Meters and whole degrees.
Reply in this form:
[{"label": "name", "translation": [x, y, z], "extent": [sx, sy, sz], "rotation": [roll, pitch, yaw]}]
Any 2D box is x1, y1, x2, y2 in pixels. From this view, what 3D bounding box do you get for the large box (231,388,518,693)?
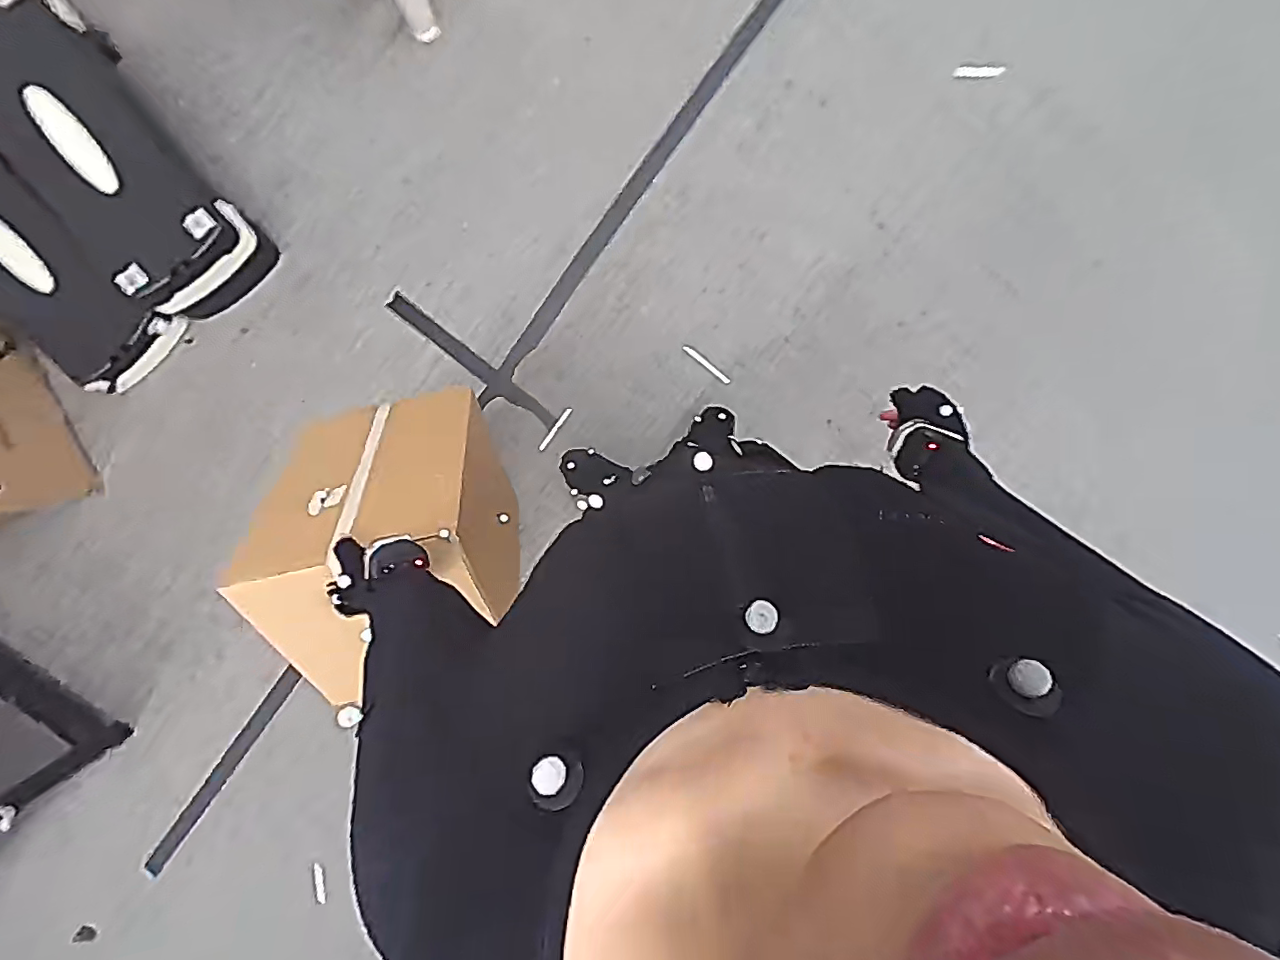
[{"label": "large box", "translation": [-0.408, 0.091, 0.957], "extent": [0.320, 0.408, 0.320], "rotation": [-13, 131, -3]}]
